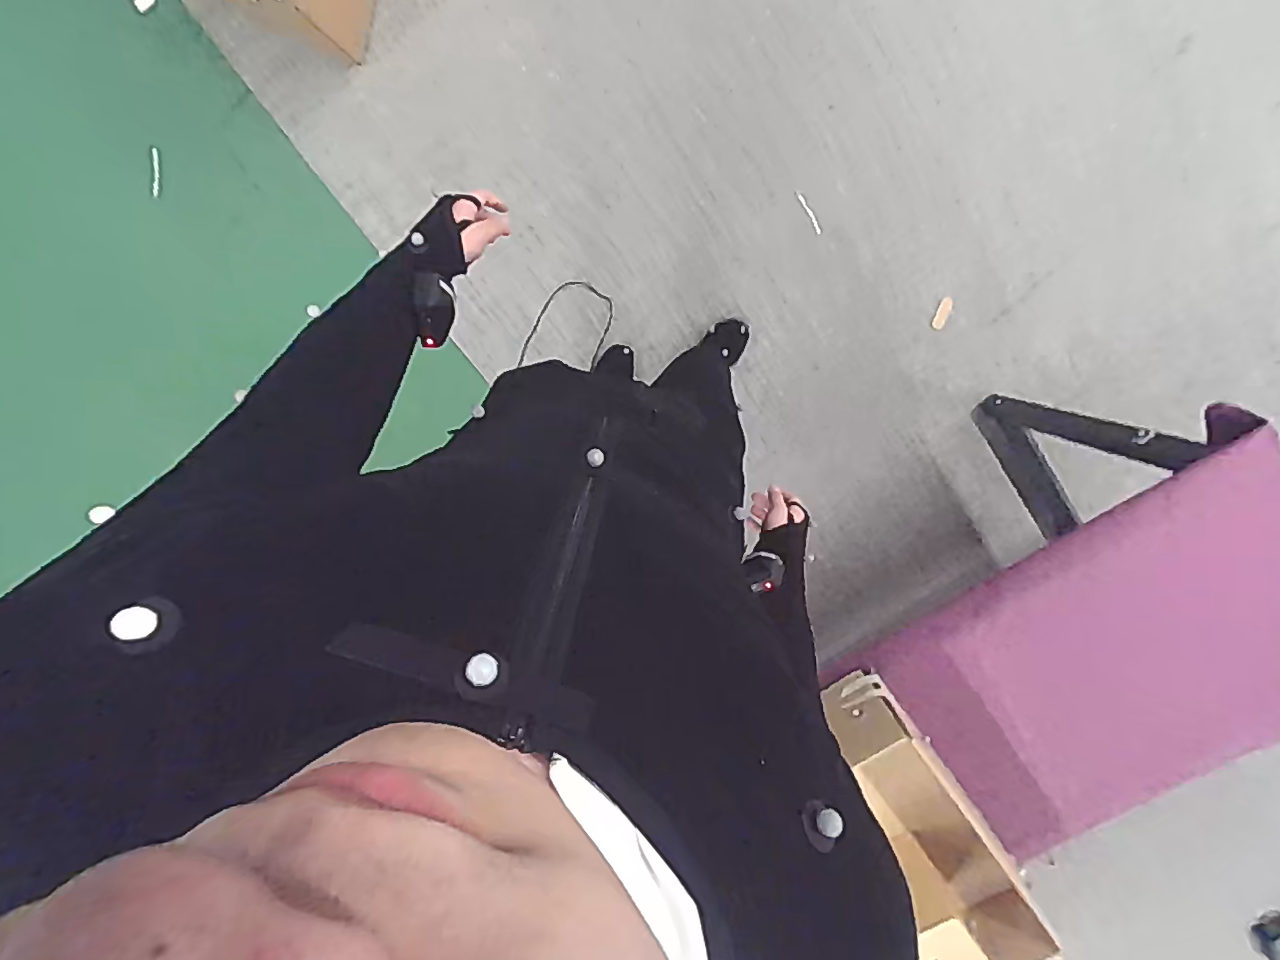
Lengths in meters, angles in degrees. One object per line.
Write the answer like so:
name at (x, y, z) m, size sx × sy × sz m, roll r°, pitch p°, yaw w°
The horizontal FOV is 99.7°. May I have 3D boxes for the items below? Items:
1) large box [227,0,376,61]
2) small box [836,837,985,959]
large box at (-0.751, -1.210, 1.122) m, size 0.320 × 0.320 × 0.408 m, roll 20°, pitch 107°, yaw -5°
small box at (0.506, 0.824, 1.030) m, size 0.168 × 0.176 × 0.179 m, roll -33°, pitch 104°, yaw 8°
